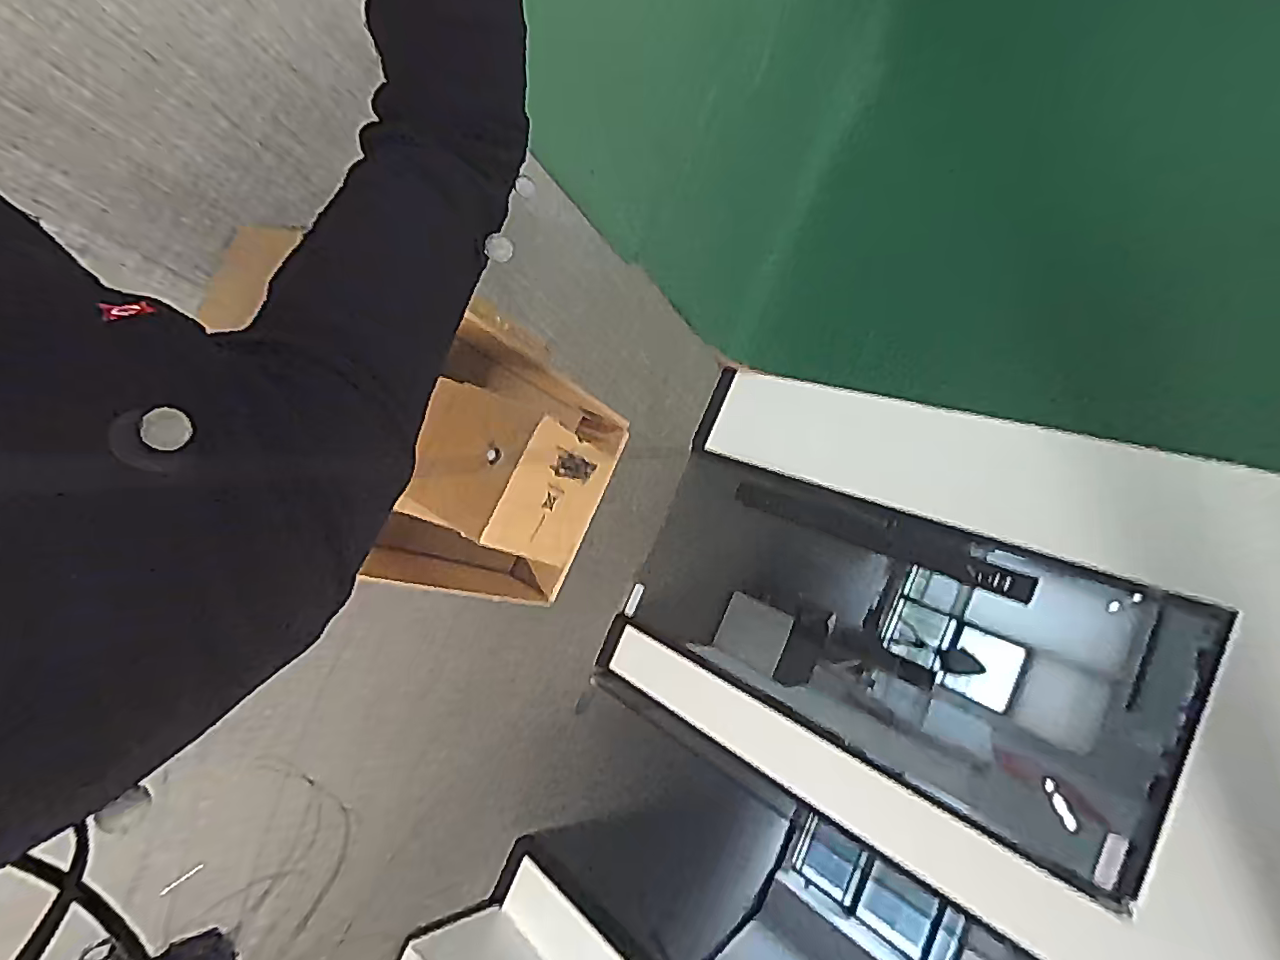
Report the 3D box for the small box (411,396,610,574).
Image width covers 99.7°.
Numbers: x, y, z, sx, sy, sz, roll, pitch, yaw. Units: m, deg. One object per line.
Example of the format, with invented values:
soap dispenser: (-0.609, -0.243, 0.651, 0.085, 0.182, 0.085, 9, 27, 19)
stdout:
small box: (-0.178, 0.004, 0.746, 0.168, 0.176, 0.179, 34, 81, -55)
